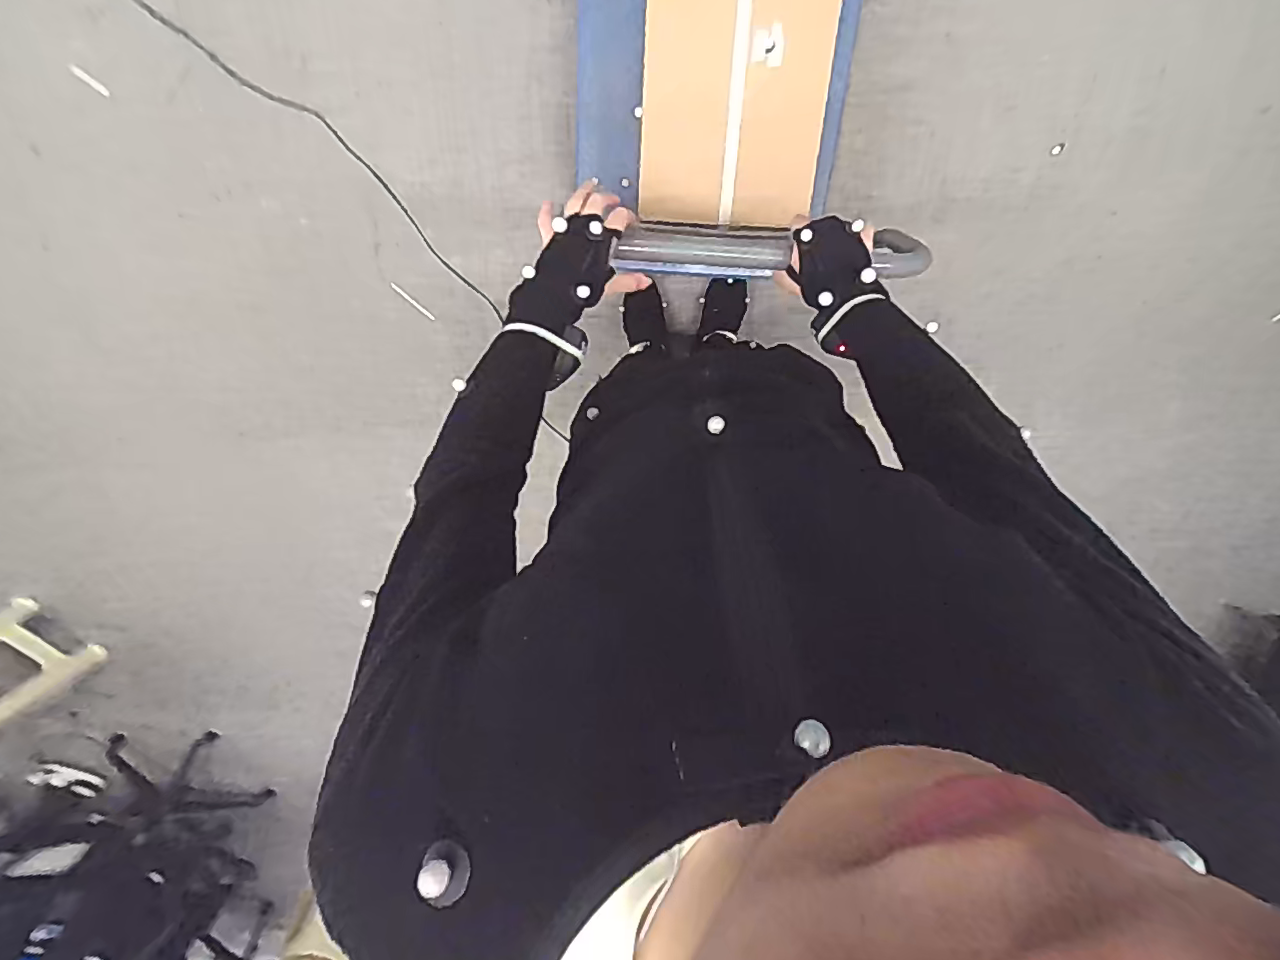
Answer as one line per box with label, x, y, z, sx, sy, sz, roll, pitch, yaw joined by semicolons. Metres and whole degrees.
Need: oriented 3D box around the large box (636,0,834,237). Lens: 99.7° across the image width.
large box;0.159;-0.702;1.059;0.320;0.320;0.408;3;112;0
